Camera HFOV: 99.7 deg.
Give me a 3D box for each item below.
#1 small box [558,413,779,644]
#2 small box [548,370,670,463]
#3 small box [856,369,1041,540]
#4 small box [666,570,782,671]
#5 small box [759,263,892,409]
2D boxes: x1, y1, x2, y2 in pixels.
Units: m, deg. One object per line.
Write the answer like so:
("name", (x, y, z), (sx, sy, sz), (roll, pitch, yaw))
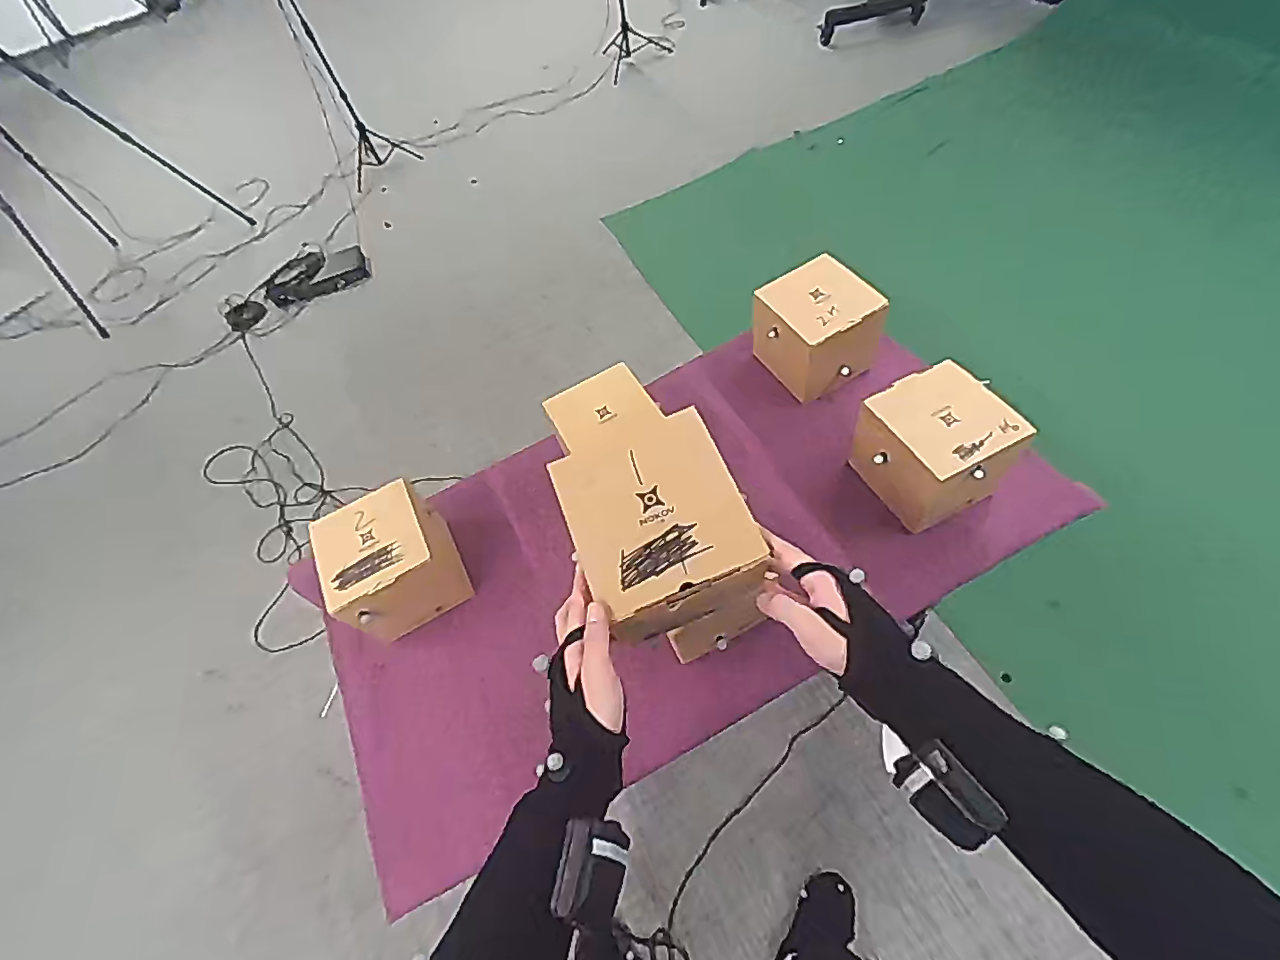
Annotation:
("small box", (0.031, 0.064, 0.581), (0.168, 0.176, 0.179), (-22, 64, -3))
("small box", (-0.041, -0.057, 0.971), (0.168, 0.176, 0.179), (-28, 59, -9))
("small box", (0.472, -0.037, 0.863), (0.168, 0.176, 0.179), (-26, 54, -5))
("small box", (0.091, 0.156, 0.810), (0.168, 0.176, 0.179), (-27, 57, -7))
("small box", (0.341, -0.271, 1.033), (0.168, 0.176, 0.179), (-29, 58, -6))
